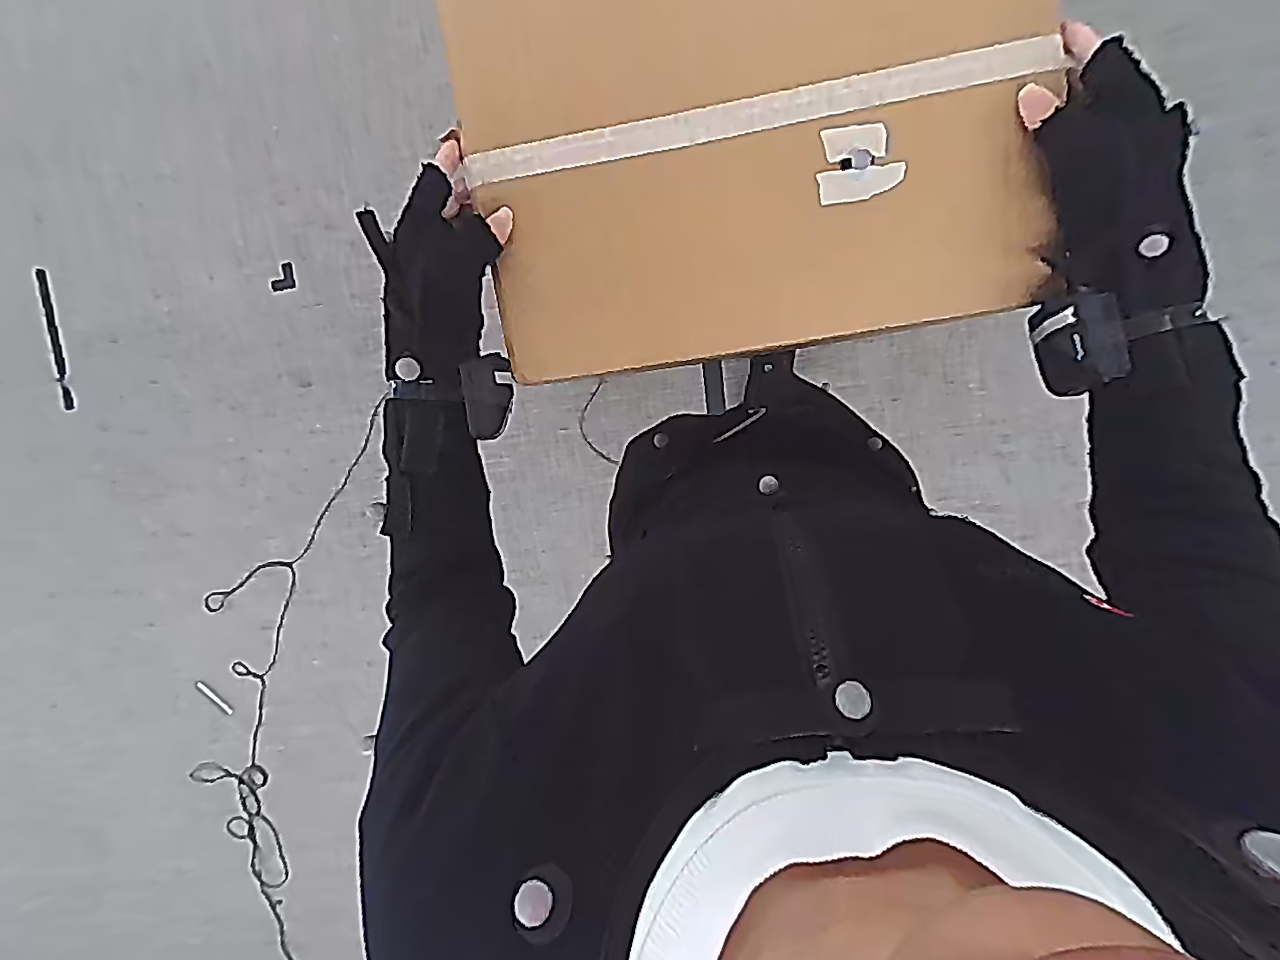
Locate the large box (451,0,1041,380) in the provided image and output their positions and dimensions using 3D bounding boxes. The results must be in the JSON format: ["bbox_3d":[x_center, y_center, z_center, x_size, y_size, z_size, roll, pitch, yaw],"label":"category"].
[{"bbox_3d":[0.086,-0.286,0.538,0.408,0.320,0.320,-8,101,5],"label":"large box"}]
